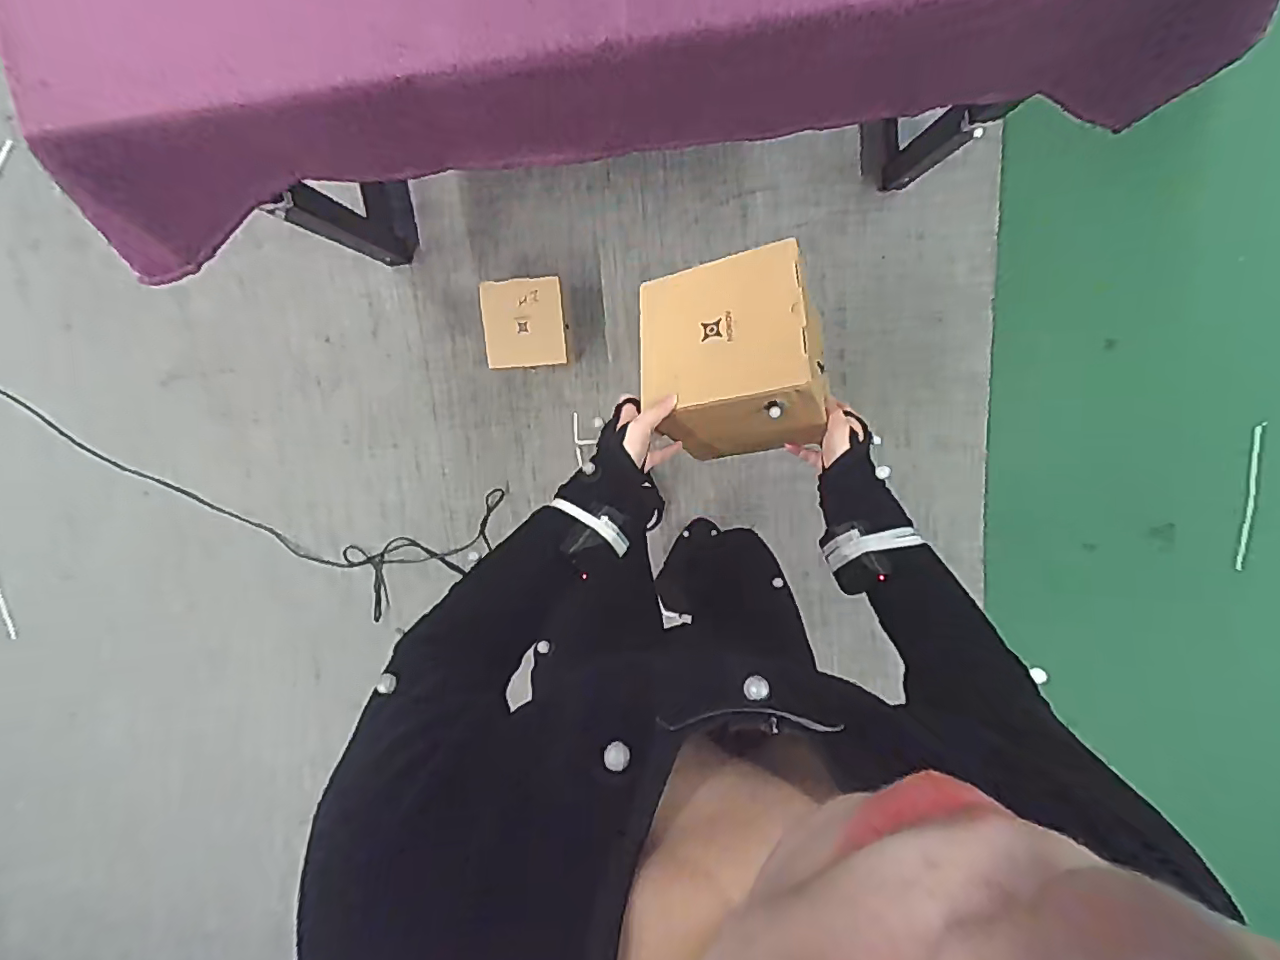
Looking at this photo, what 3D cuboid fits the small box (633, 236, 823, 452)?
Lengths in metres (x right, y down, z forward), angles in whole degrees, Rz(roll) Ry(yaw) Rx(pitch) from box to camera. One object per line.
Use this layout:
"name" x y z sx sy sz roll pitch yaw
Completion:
"small box" 0.106 -0.141 0.632 0.179 0.176 0.168 -8 71 24
